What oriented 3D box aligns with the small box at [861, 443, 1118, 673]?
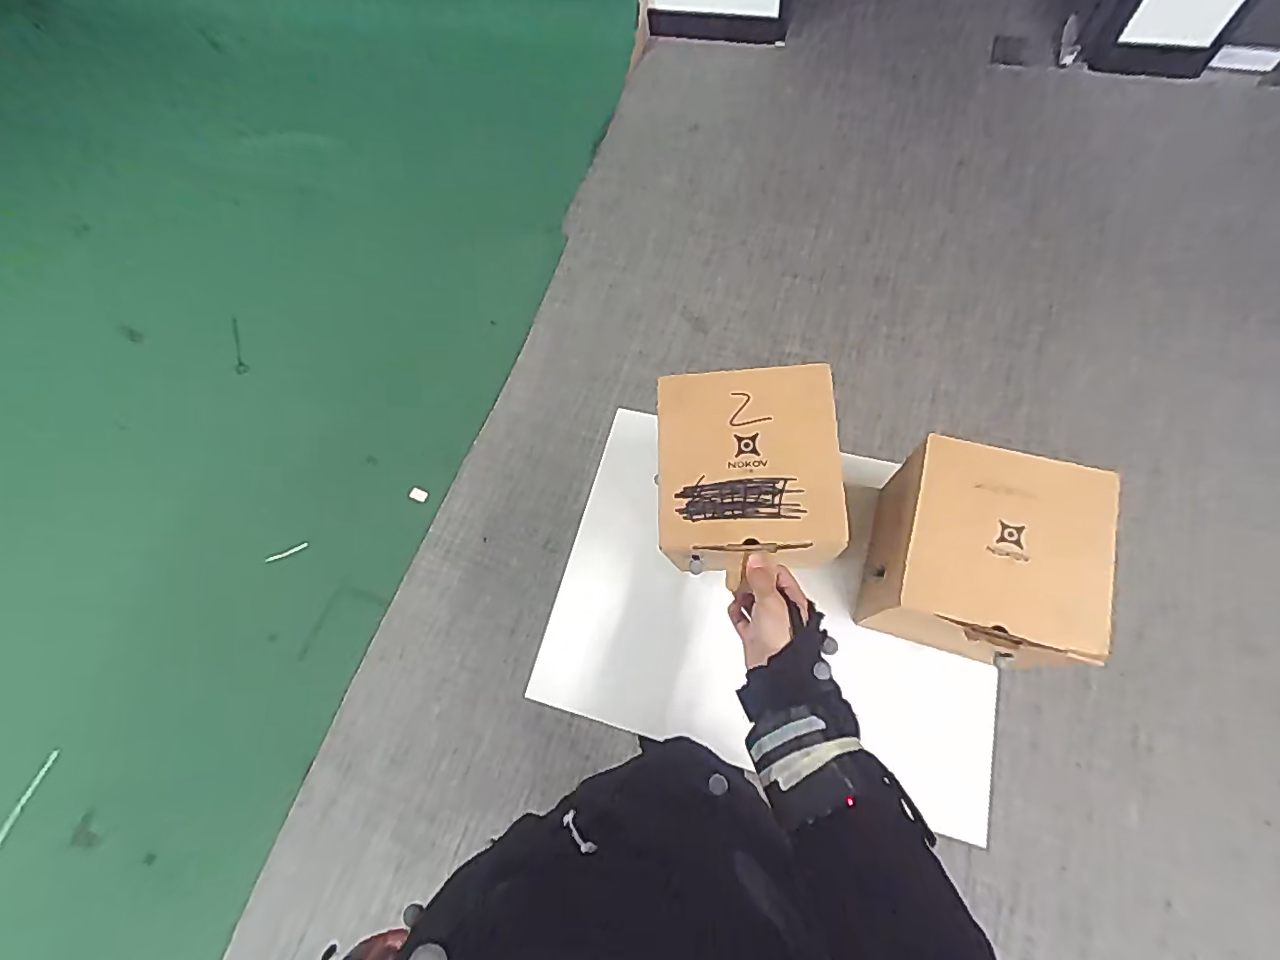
[{"bbox_3d":[0.339,0.089,0.554,0.168,0.176,0.179,14,71,12],"label":"small box"}]
